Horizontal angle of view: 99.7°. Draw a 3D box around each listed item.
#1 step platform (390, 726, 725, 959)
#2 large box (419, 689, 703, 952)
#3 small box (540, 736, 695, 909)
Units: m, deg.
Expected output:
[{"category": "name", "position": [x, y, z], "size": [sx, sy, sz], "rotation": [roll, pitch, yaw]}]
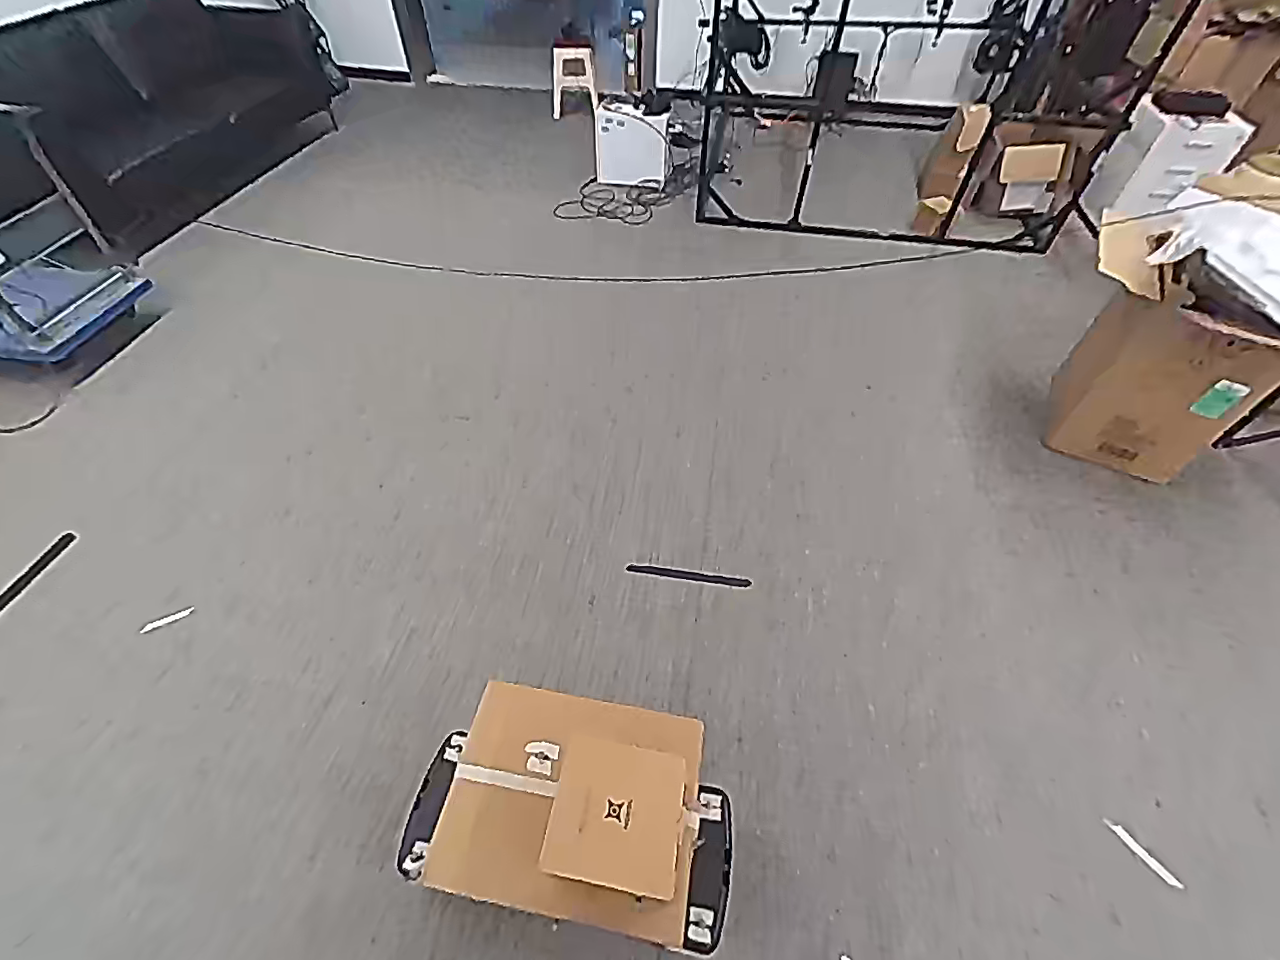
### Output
[{"category": "step platform", "position": [-0.164, 0.776, 1.158], "size": [0.684, 0.204, 0.286], "rotation": [12, 50, 11]}, {"category": "large box", "position": [-0.105, 0.616, 0.983], "size": [0.408, 0.320, 0.320], "rotation": [8, 49, 7]}, {"category": "small box", "position": [-0.025, 0.489, 0.769], "size": [0.179, 0.176, 0.168], "rotation": [8, 51, 7]}]
